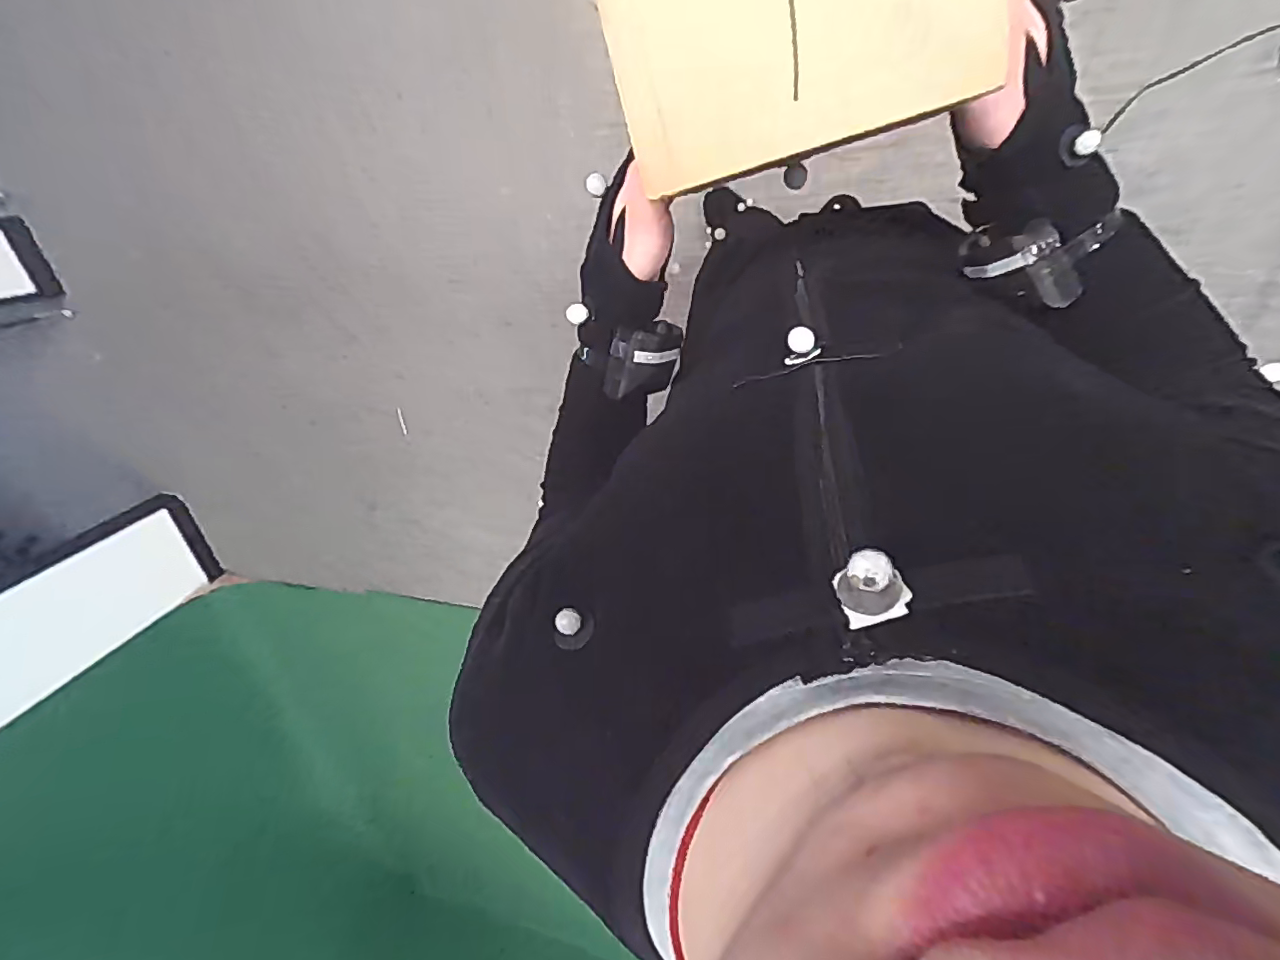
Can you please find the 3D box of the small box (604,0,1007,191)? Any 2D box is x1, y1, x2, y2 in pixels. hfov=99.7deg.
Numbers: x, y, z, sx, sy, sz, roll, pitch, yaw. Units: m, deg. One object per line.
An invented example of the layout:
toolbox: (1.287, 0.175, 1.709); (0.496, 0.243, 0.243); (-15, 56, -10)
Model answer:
small box: (0.076, -0.271, 0.291); (0.168, 0.176, 0.179); (-8, 115, 19)
